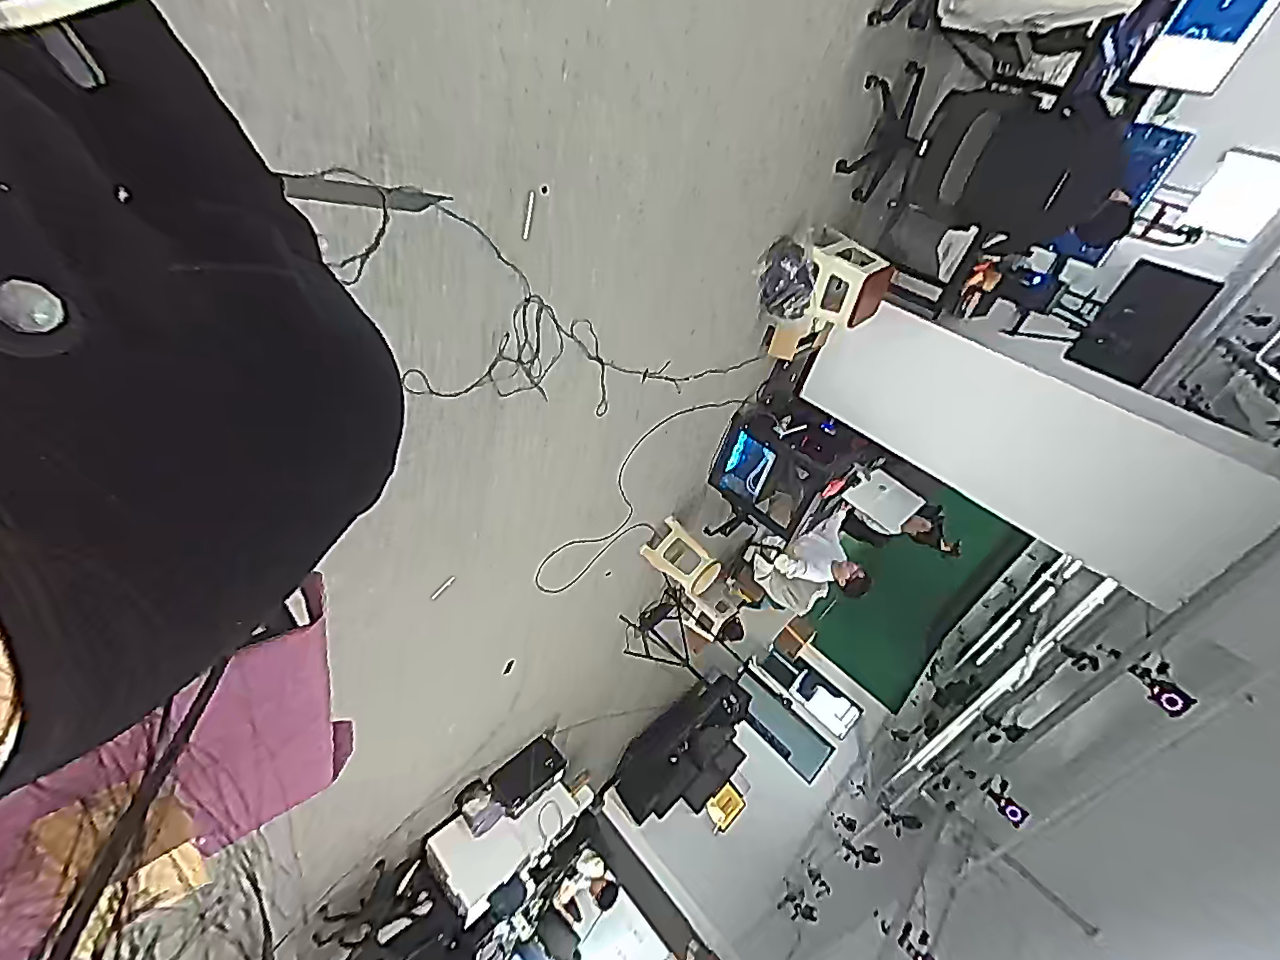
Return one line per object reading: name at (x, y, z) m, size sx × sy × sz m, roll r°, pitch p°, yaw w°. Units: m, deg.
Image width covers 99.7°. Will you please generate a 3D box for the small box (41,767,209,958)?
small box at (-0.860, 0.632, 0.912) m, size 0.168 × 0.176 × 0.179 m, roll -19°, pitch 138°, yaw -46°
